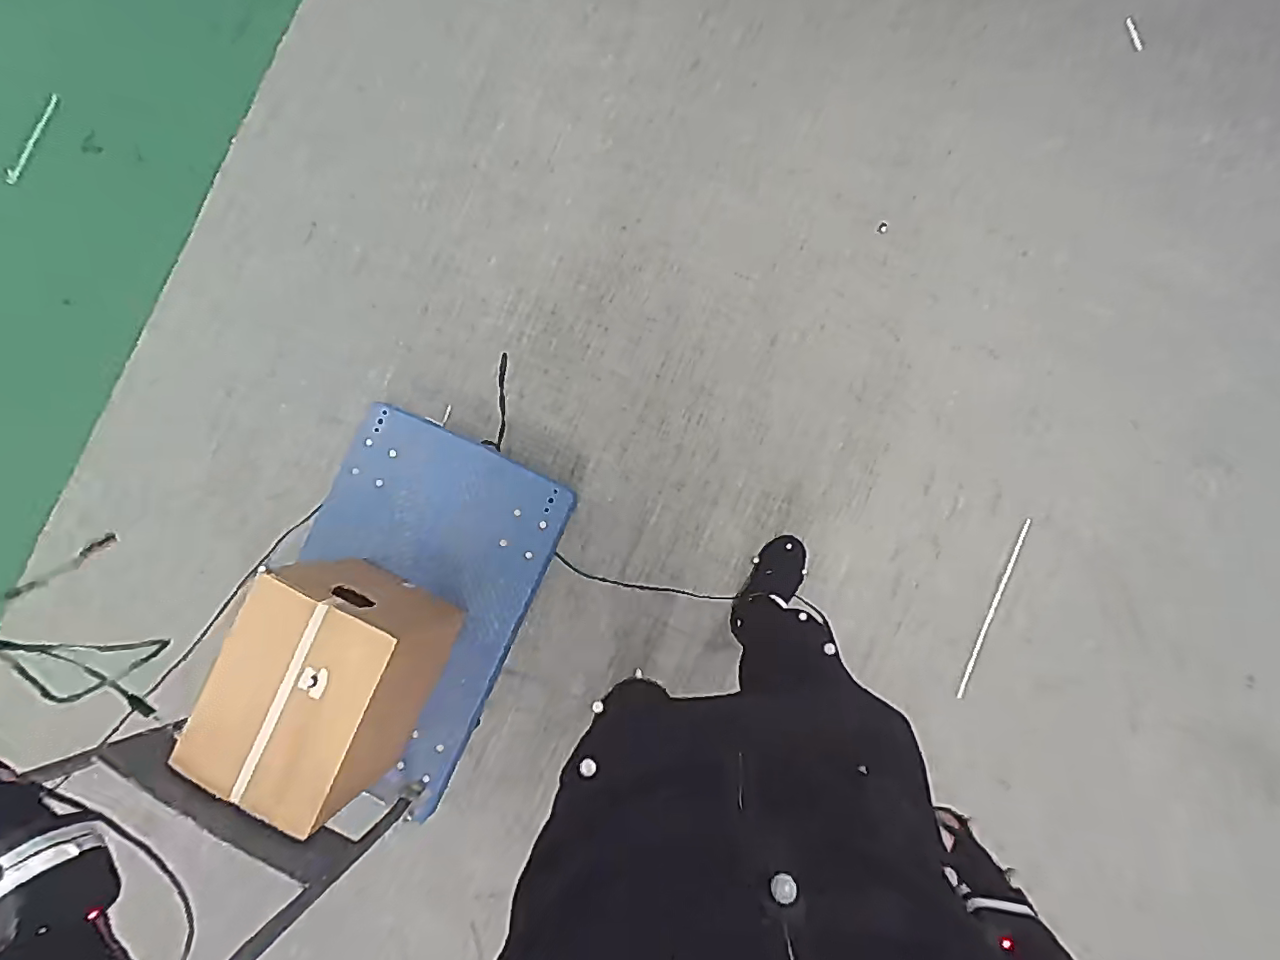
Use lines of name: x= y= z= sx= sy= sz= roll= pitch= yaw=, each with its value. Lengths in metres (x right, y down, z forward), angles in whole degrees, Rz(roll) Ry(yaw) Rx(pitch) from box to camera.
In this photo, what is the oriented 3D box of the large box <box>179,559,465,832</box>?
large box: x=-0.643 y=0.417 z=1.154 sx=0.320 sy=0.320 sz=0.408 roll=24 pitch=87 yaw=7
